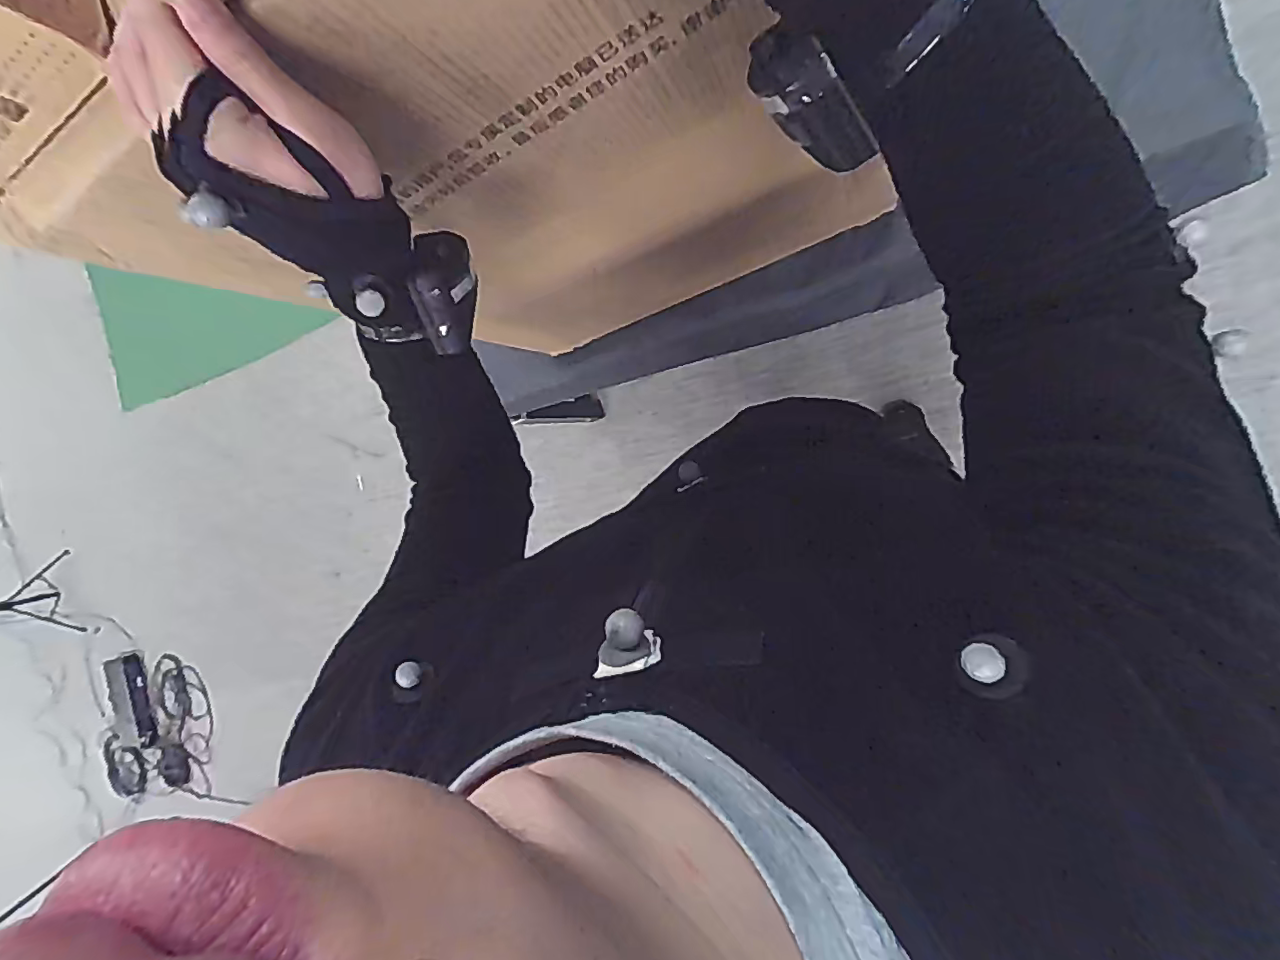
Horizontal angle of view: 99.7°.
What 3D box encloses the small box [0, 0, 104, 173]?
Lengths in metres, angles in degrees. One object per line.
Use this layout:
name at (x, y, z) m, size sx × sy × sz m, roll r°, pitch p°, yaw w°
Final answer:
small box at (-0.361, -0.244, 0.207) m, size 0.168 × 0.176 × 0.179 m, roll -15°, pitch 91°, yaw 23°
